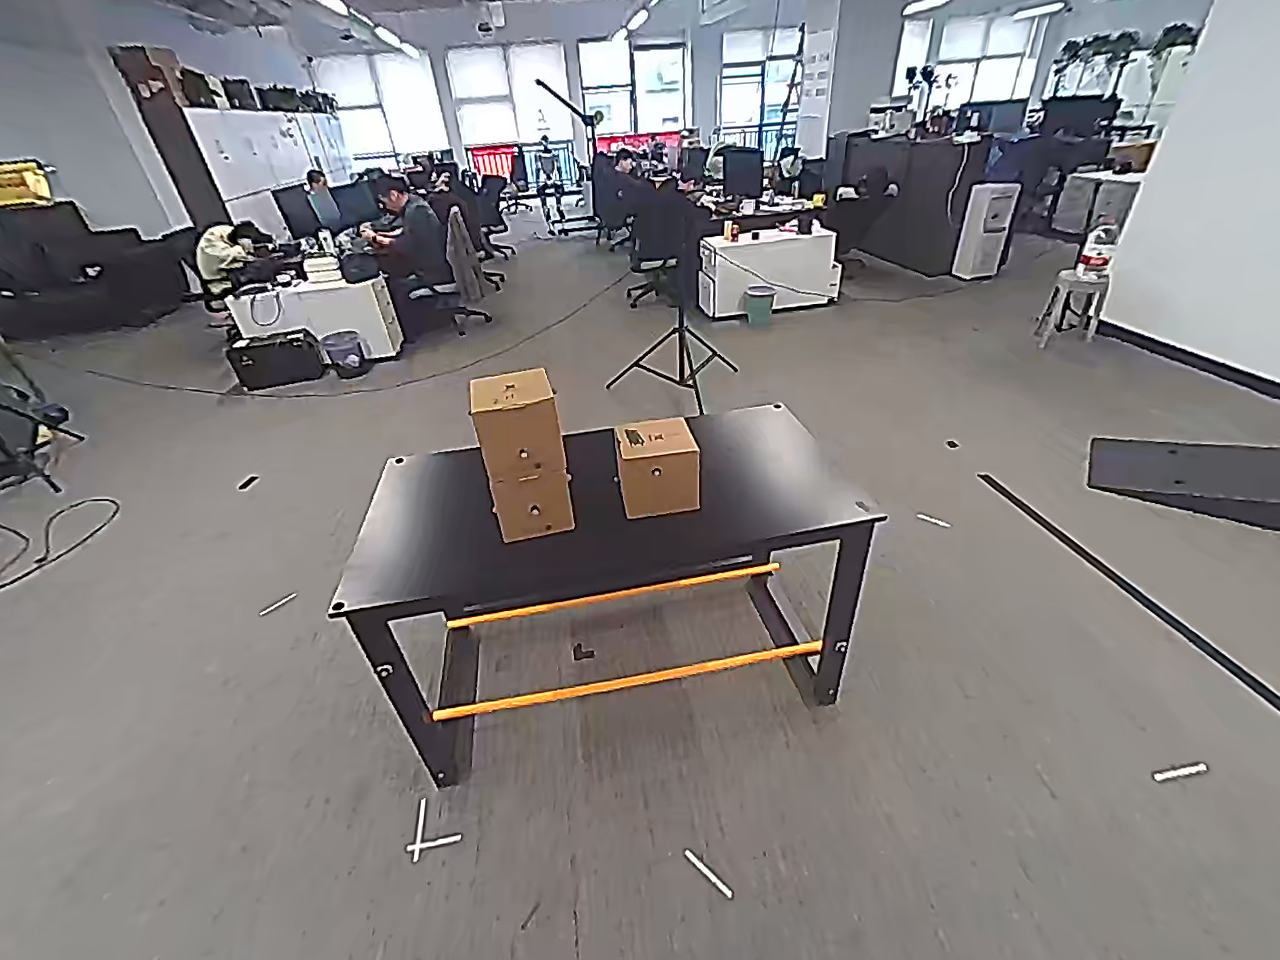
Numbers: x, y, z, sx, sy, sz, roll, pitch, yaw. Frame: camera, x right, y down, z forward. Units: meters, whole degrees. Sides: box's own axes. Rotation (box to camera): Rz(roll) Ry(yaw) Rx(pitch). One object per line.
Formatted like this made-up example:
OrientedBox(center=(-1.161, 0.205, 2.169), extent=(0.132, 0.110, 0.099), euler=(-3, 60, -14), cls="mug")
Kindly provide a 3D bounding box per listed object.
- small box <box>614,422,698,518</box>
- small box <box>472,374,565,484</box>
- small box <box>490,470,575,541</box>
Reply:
OrientedBox(center=(0.039, -0.022, 1.309), extent=(0.179, 0.176, 0.168), euler=(-8, 34, -5), cls="small box")
OrientedBox(center=(-0.266, -0.114, 1.188), extent=(0.168, 0.176, 0.179), euler=(-13, 34, -10), cls="small box")
OrientedBox(center=(-0.254, 0.026, 1.276), extent=(0.168, 0.176, 0.179), euler=(-12, 35, -9), cls="small box")
